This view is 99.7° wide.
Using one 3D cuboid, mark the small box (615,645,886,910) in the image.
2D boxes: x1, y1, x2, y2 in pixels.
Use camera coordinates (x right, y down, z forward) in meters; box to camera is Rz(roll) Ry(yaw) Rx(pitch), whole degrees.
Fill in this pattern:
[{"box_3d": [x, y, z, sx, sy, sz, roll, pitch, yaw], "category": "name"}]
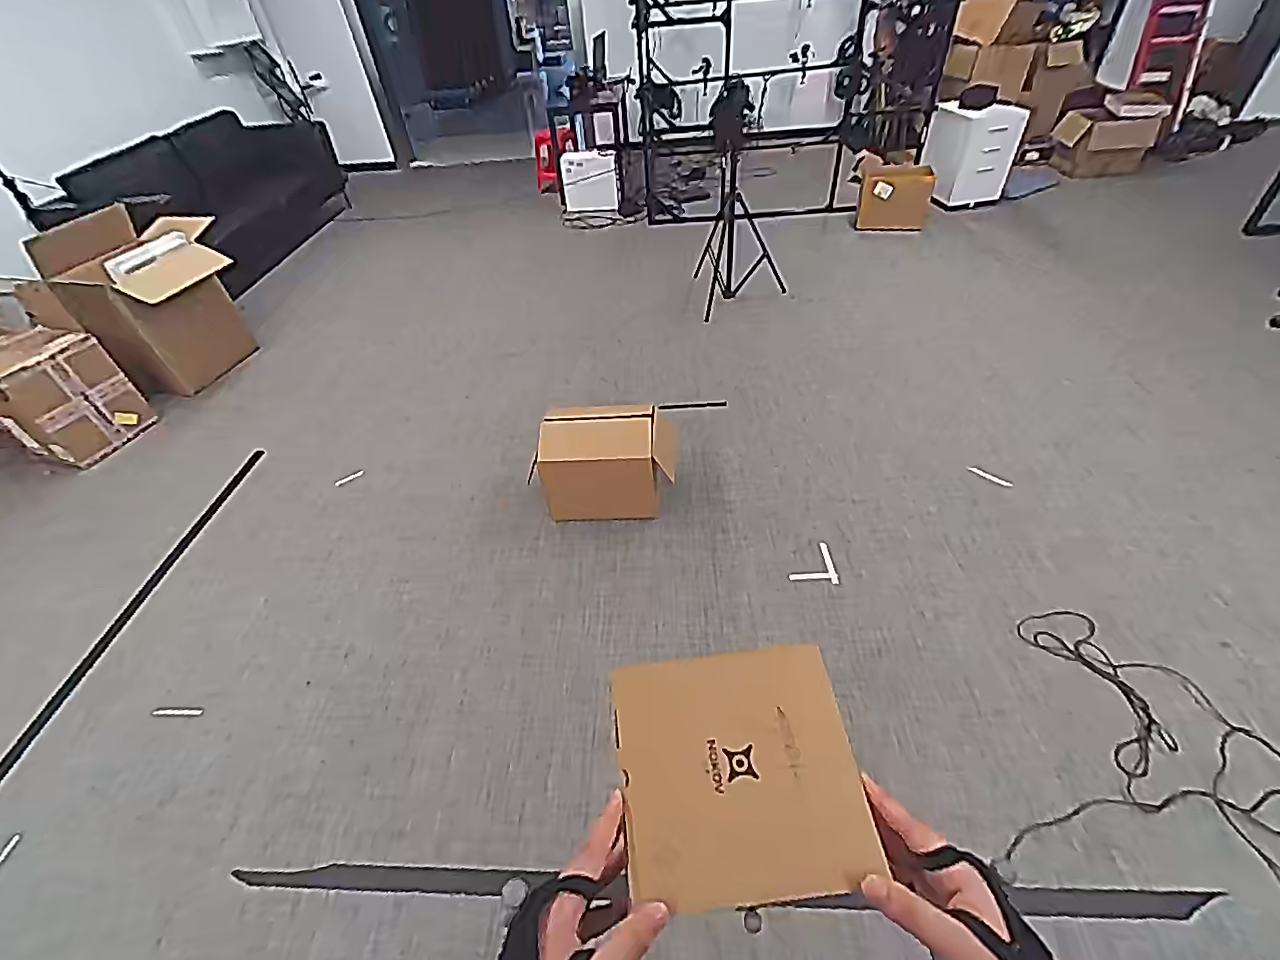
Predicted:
[{"box_3d": [0.078, 0.263, 0.473, 0.179, 0.176, 0.168, -7, 52, -1], "category": "small box"}]
